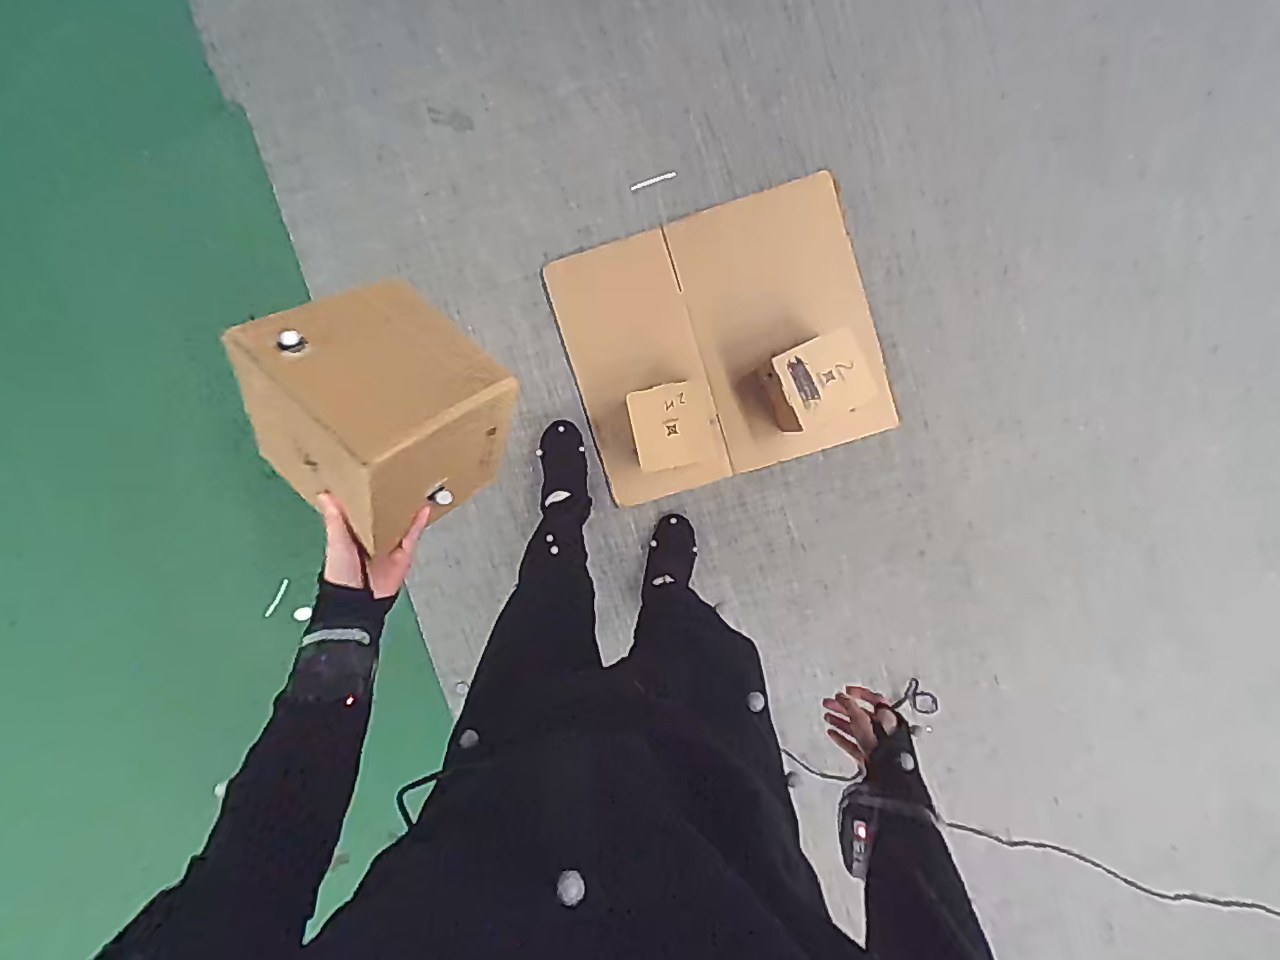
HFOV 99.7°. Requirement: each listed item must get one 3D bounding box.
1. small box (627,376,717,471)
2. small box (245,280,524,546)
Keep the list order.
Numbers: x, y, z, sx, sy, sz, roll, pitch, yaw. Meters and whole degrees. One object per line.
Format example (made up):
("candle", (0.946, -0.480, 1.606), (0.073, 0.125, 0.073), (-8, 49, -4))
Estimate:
("small box", (0.071, -0.125, 1.207), (0.168, 0.176, 0.179), (-11, 94, 3))
("small box", (-0.243, -0.074, 0.543), (0.179, 0.176, 0.168), (42, 138, 9))
